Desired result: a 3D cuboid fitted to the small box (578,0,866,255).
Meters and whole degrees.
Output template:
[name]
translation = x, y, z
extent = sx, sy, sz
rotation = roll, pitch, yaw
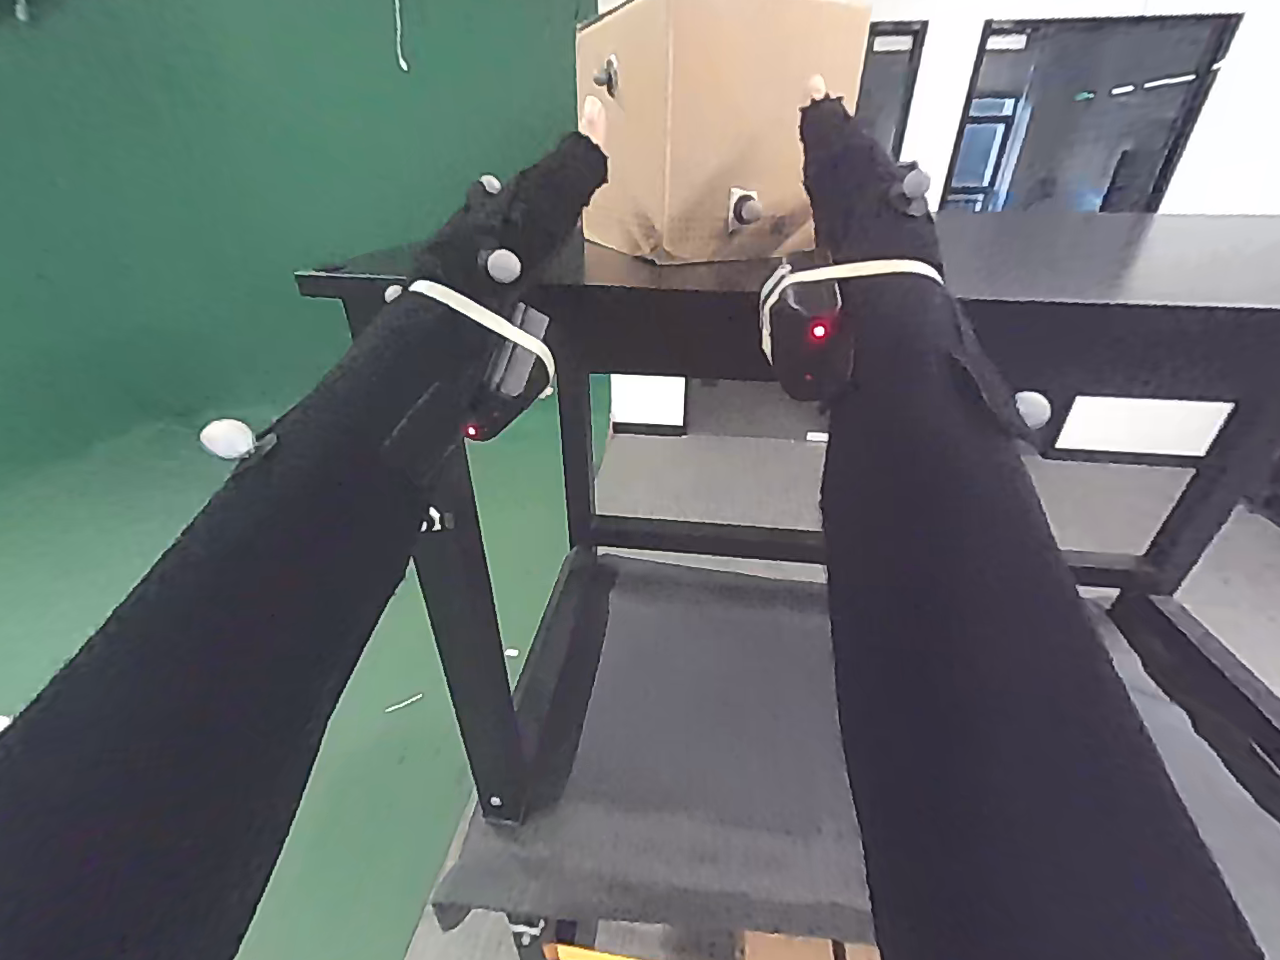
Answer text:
[small box]
translation = 0.053, -0.294, 0.463
extent = 0.168, 0.176, 0.179
rotation = -14, 35, -21
